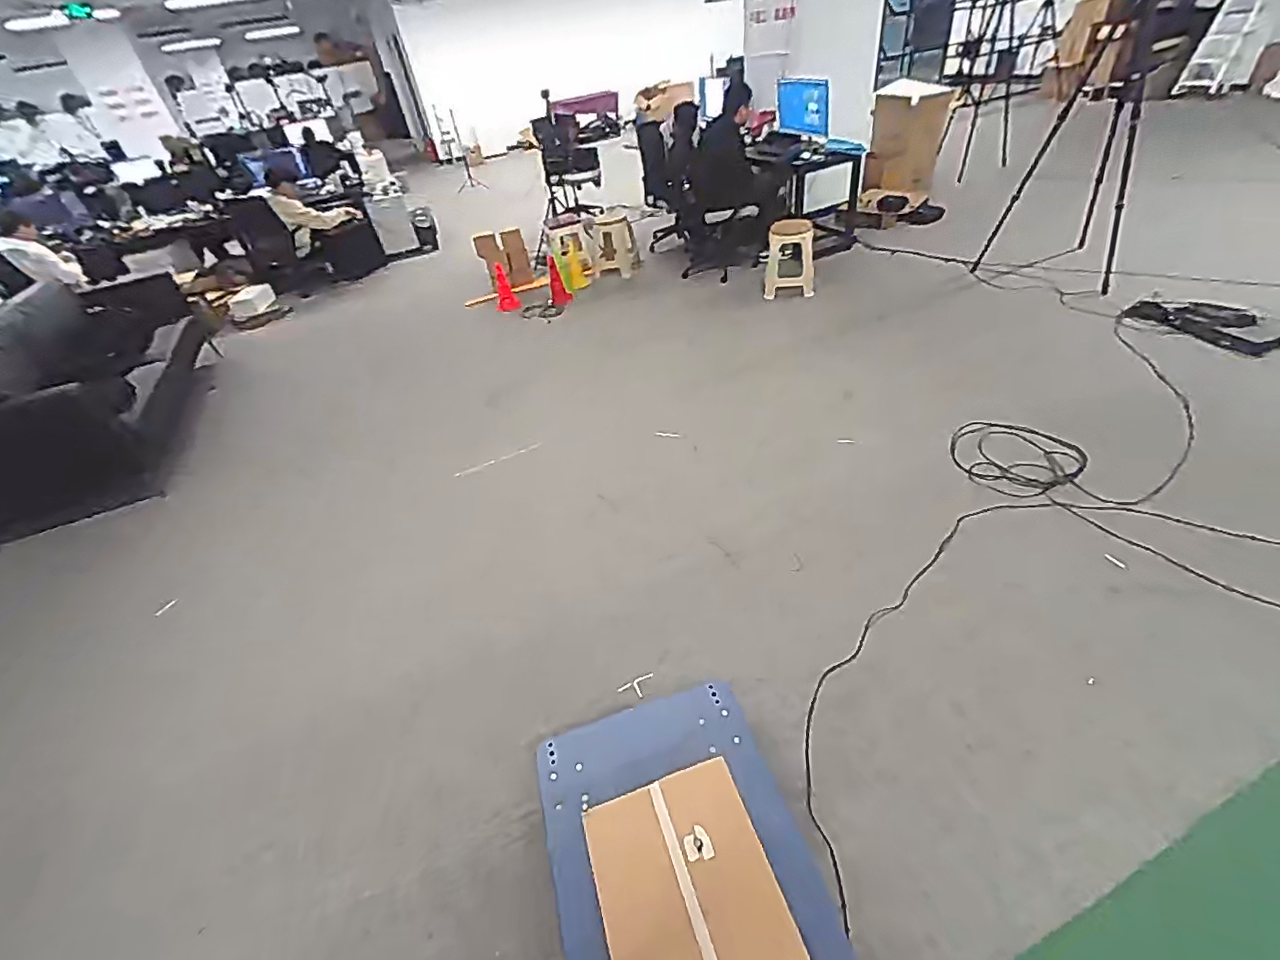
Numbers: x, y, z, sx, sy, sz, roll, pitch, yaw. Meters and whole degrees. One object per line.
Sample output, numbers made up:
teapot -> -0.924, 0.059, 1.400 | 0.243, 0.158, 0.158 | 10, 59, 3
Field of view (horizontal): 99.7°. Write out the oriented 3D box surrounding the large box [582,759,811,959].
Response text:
large box -> 0.109, 0.862, 1.068 | 0.320, 0.320, 0.408 | -18, 40, -9
